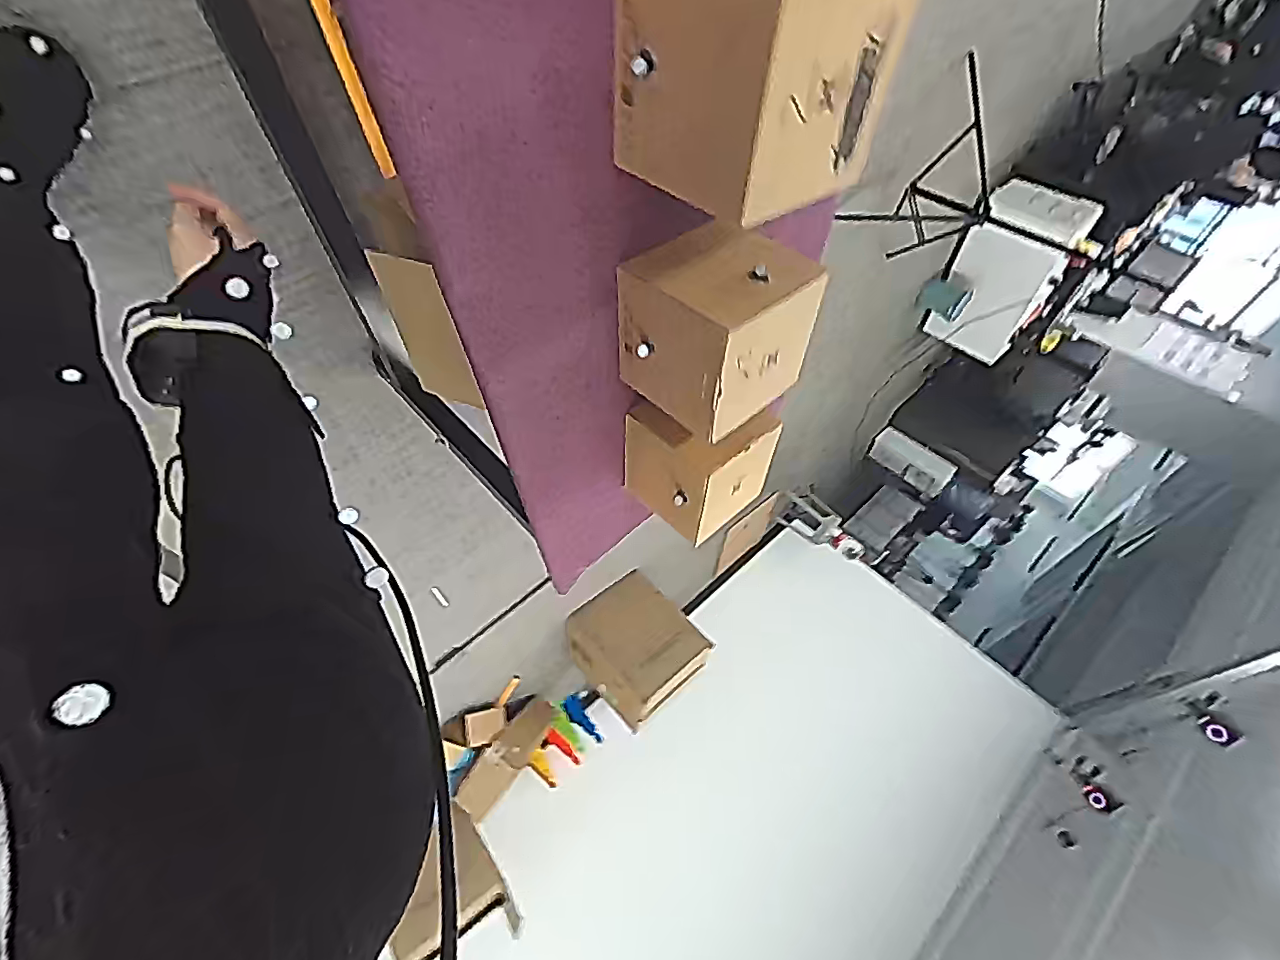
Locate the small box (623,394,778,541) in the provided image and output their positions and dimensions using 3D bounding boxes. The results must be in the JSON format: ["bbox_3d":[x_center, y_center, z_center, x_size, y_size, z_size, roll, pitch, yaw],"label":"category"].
[{"bbox_3d":[0.085,-0.043,0.859,0.168,0.176,0.179,-35,149,-28],"label":"small box"}]

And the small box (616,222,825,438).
[{"bbox_3d":[0.089,-0.191,0.668,0.179,0.176,0.168,-36,150,-26],"label":"small box"}]
